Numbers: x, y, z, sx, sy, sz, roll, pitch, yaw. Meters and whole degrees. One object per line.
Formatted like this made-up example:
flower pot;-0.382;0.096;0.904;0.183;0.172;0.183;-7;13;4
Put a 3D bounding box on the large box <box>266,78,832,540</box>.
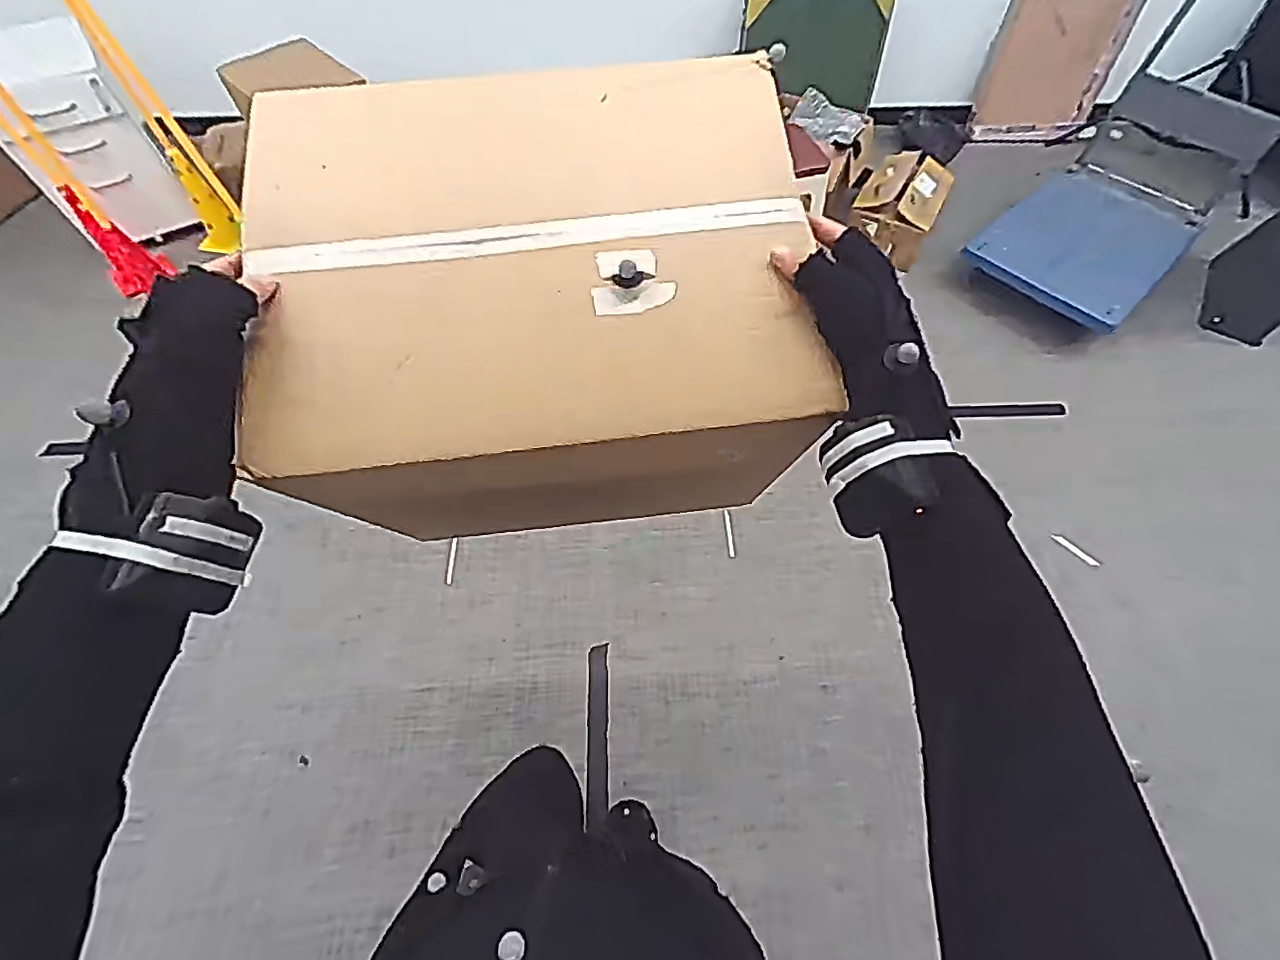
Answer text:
large box;-0.080;-0.134;0.555;0.408;0.320;0.320;-7;76;-3
